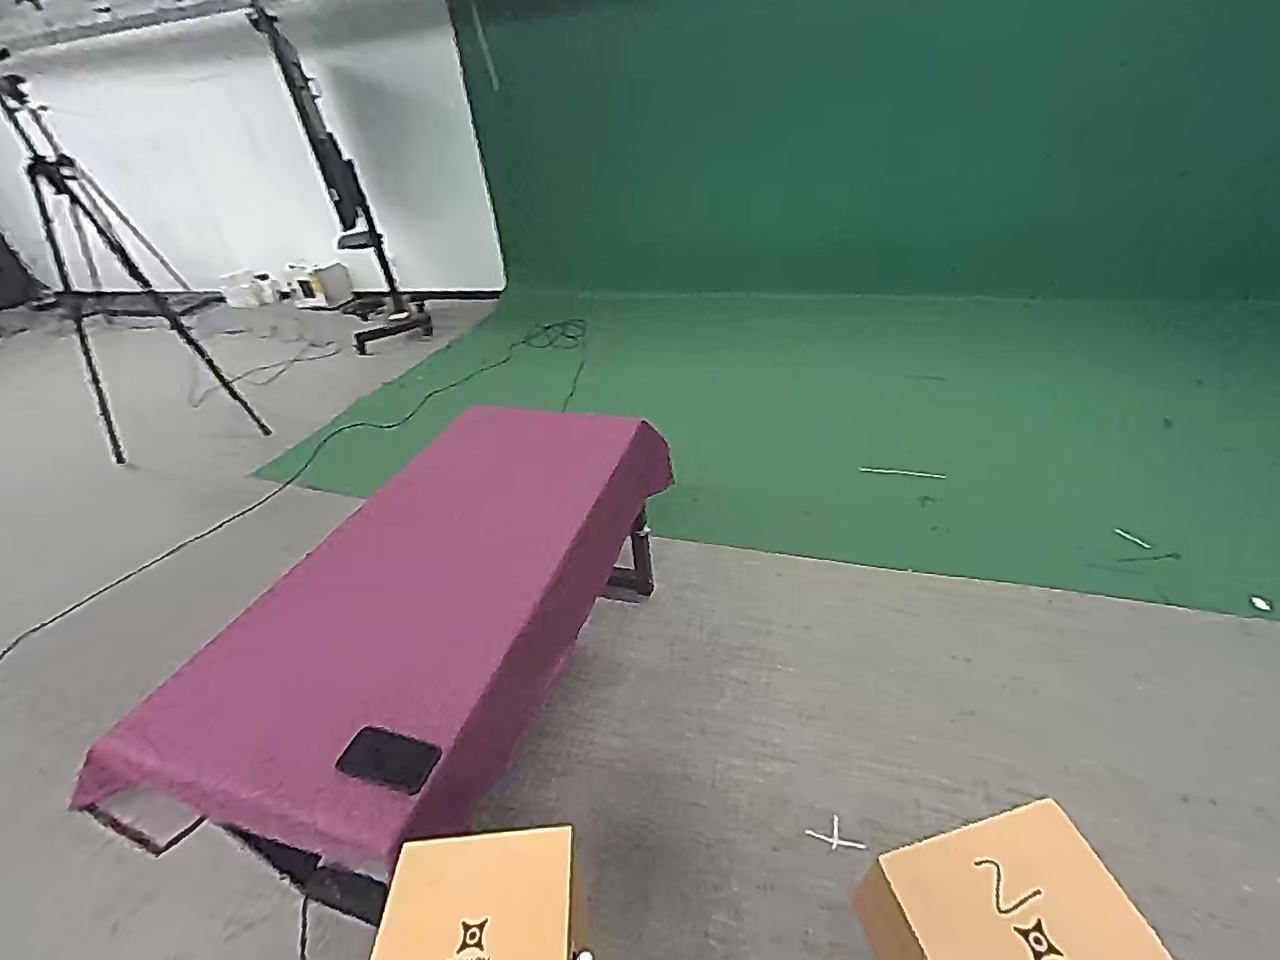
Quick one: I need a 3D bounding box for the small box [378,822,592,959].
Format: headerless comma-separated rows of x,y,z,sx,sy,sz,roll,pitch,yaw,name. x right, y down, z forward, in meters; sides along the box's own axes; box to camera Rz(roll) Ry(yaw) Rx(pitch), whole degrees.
-0.133,0.453,0.495,0.168,0.176,0.179,-4,31,-2,small box
